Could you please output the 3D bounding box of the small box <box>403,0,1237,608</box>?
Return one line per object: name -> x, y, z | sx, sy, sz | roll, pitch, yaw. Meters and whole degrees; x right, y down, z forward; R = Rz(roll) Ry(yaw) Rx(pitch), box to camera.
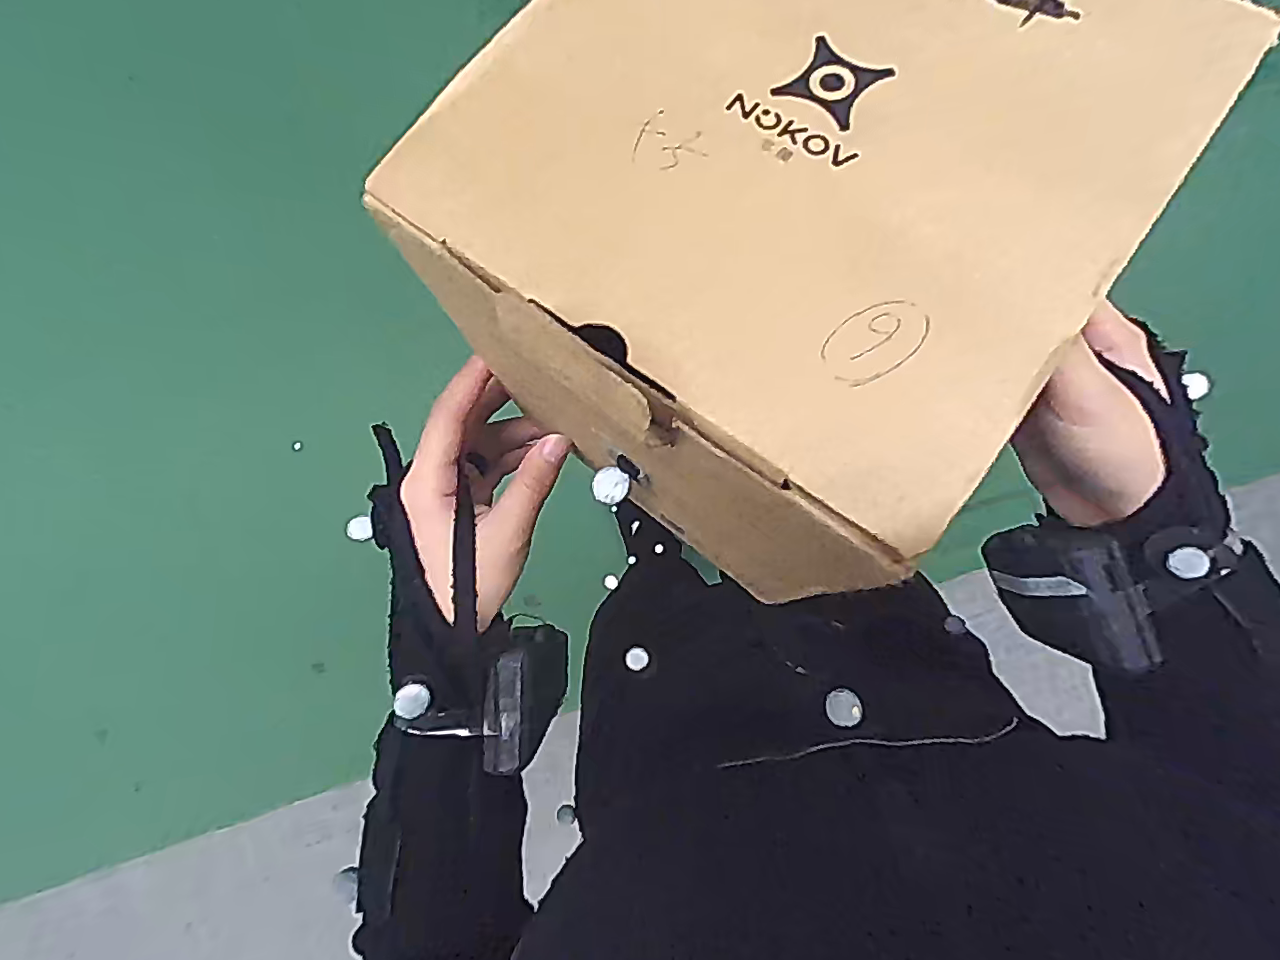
small box -> 0.052, -0.062, 0.227 | 0.168, 0.176, 0.179 | 37, 81, 13
